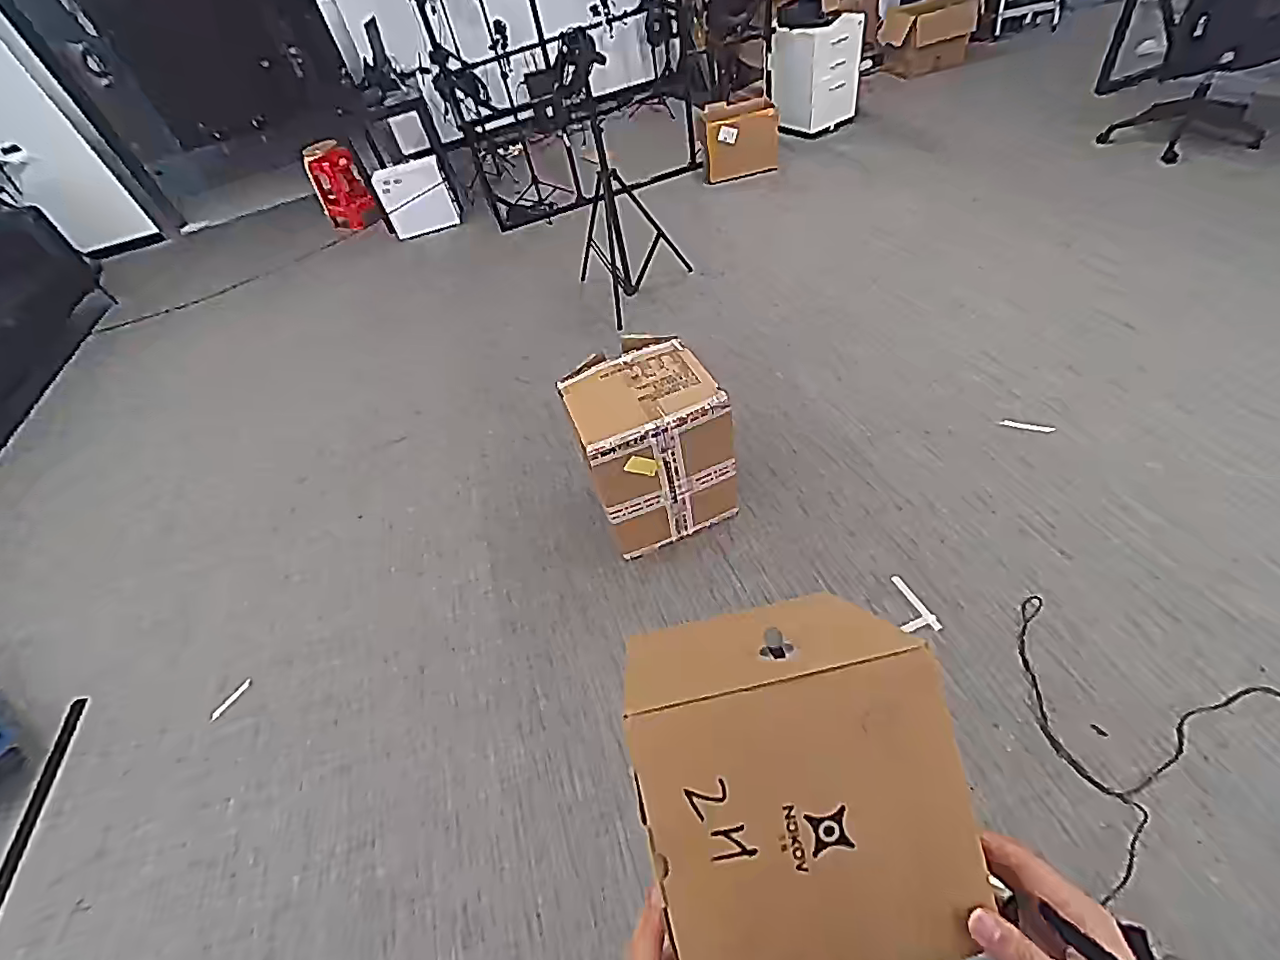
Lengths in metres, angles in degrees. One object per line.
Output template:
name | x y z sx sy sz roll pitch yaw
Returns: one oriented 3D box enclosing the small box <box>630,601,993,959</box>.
small box | 0.093 0.193 0.377 0.179 0.176 0.168 -13 87 -1
